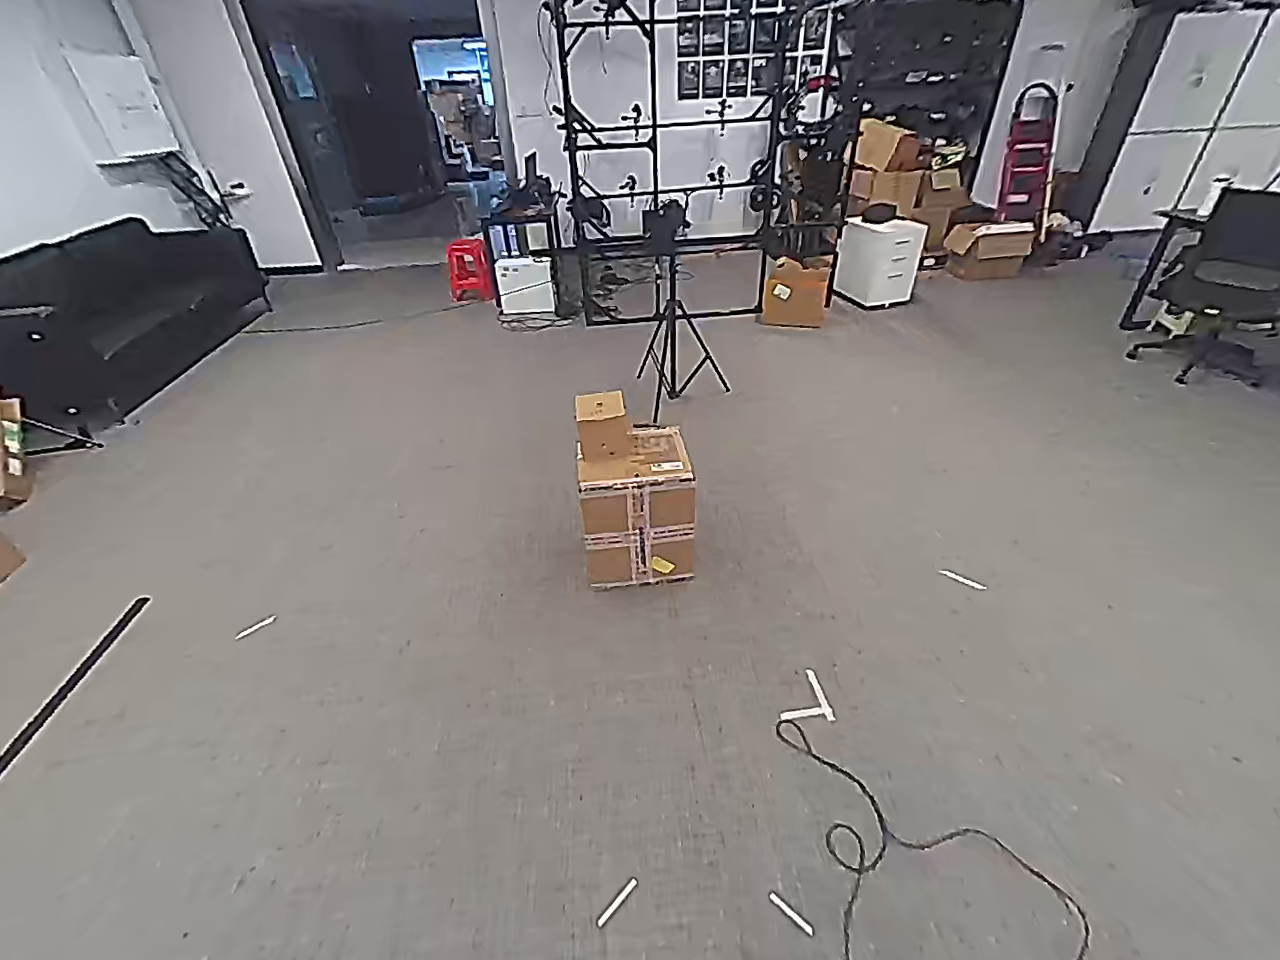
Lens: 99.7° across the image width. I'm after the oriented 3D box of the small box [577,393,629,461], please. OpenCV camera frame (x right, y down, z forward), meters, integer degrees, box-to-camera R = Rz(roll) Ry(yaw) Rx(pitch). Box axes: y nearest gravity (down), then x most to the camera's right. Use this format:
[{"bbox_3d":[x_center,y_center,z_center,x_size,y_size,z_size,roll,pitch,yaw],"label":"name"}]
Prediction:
[{"bbox_3d":[-0.131,-0.188,1.912,0.168,0.176,0.179,-7,39,-3],"label":"small box"}]
